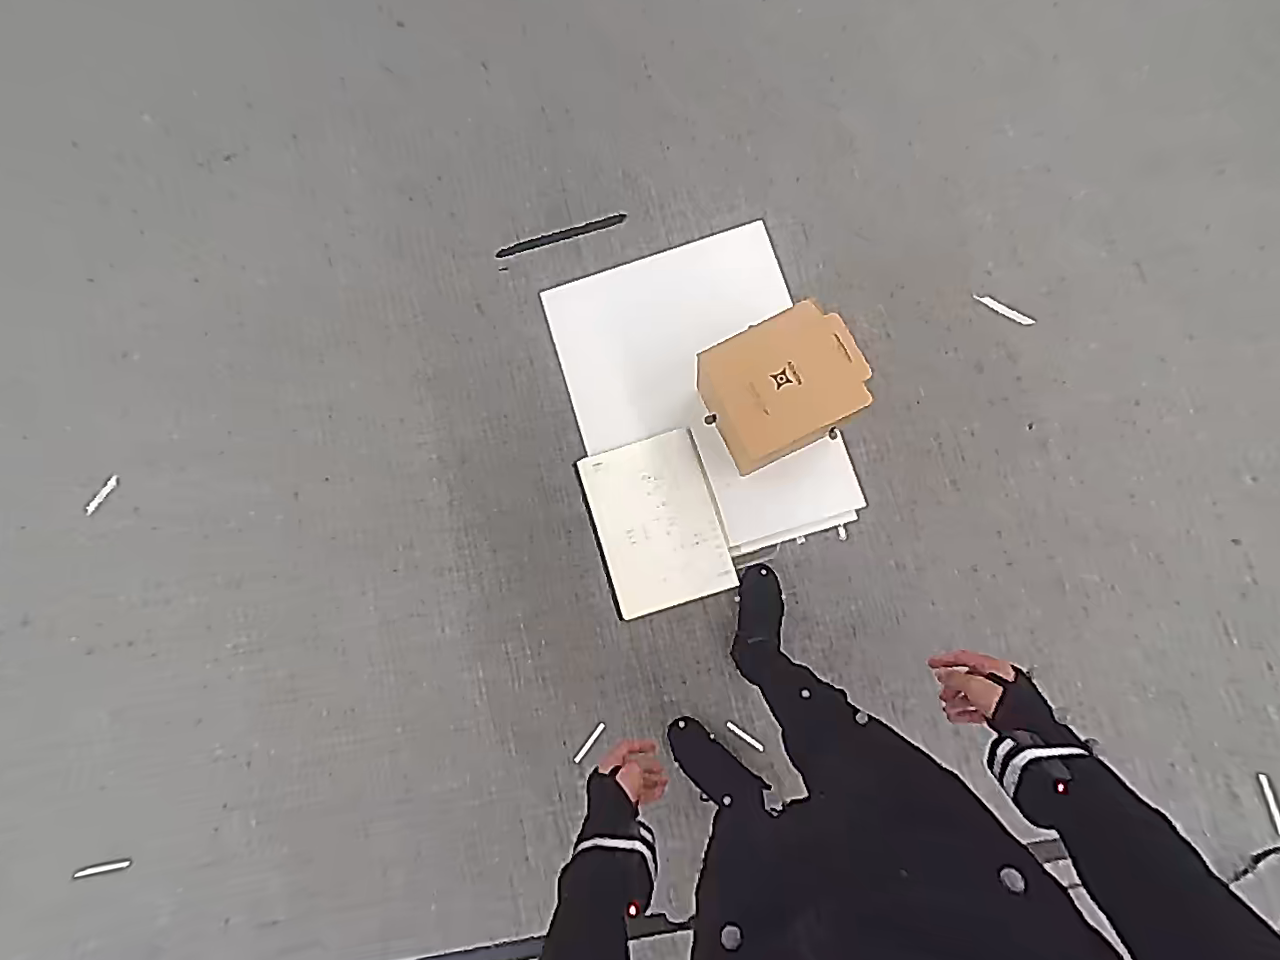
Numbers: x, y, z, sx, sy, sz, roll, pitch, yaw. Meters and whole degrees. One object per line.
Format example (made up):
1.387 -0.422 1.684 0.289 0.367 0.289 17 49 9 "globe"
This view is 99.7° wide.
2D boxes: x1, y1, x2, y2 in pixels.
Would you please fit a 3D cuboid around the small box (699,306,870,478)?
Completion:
0.196 -0.117 0.793 0.179 0.176 0.168 -26 81 2 "small box"
